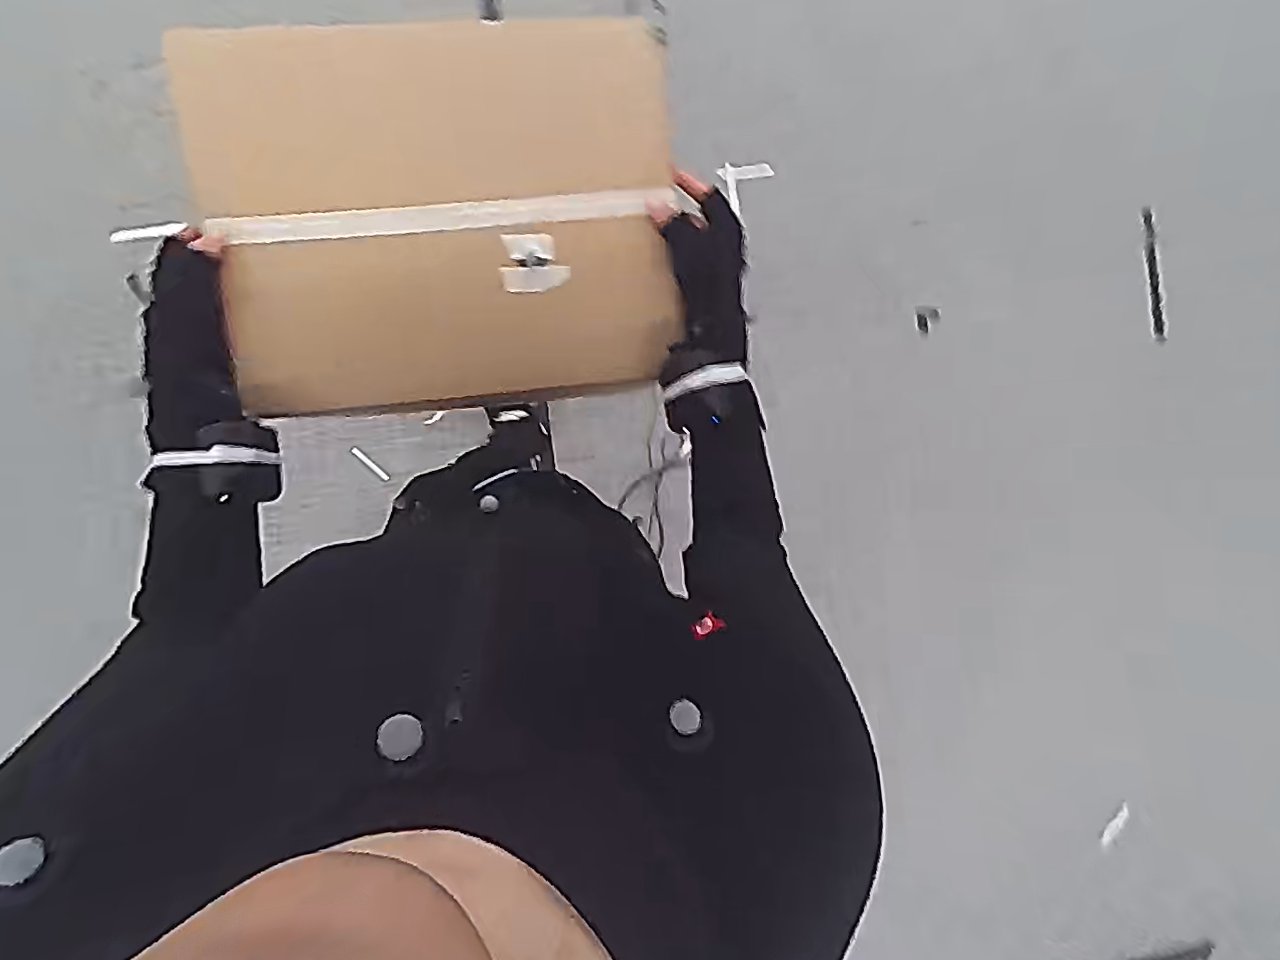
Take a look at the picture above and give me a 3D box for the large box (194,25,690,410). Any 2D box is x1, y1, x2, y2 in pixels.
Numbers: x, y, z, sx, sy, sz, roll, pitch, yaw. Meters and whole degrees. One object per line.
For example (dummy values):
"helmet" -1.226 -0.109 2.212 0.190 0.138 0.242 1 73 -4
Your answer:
"large box" -0.183 -0.259 0.637 0.408 0.320 0.320 -7 98 -7
